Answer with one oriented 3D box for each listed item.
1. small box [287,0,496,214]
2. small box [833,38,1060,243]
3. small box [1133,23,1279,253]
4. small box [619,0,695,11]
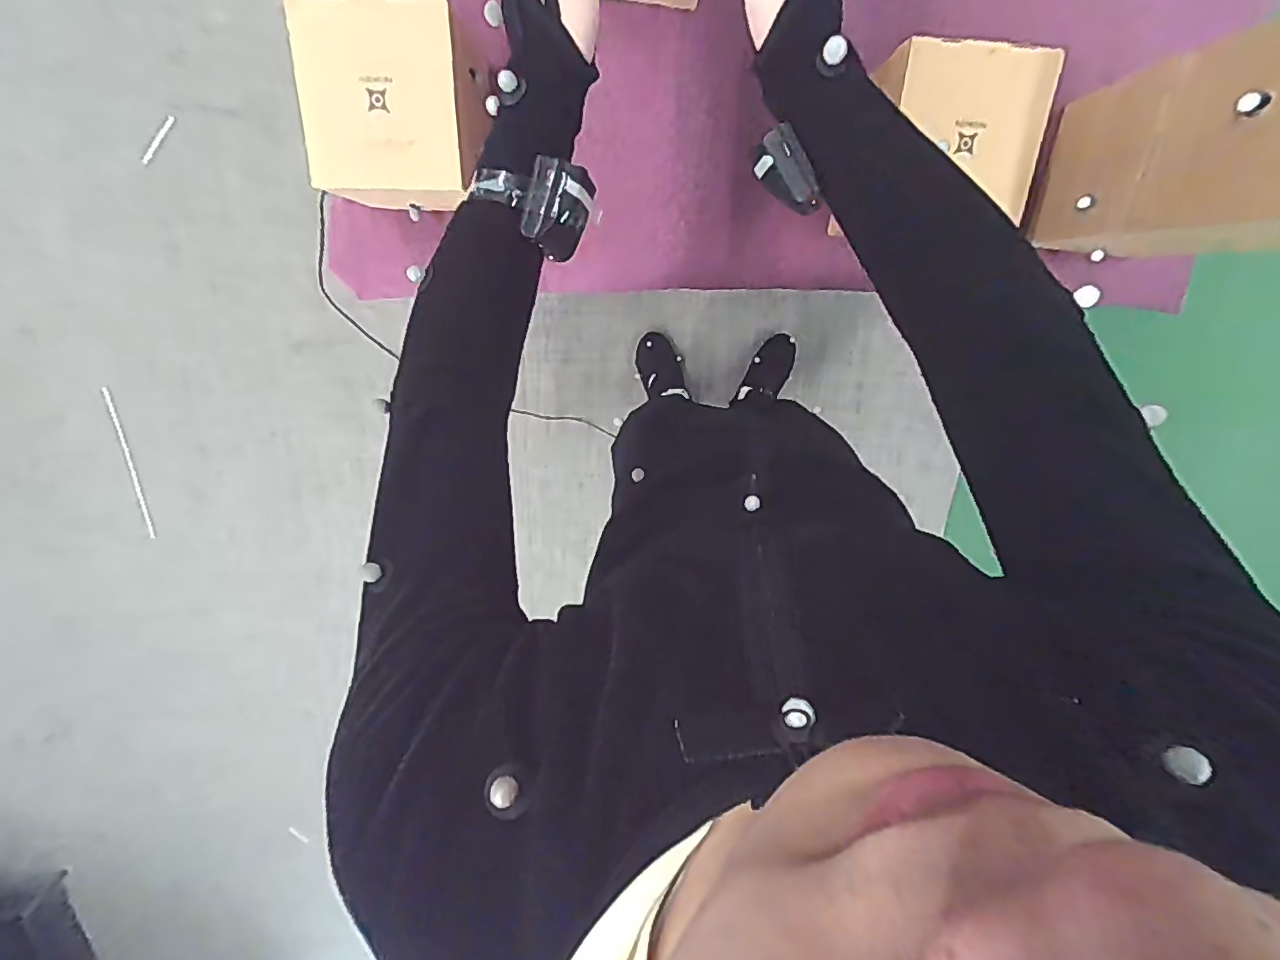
[{"bbox_3d":[-0.275,-0.427,0.641,0.168,0.176,0.179,1,109,-1],"label":"small box"},{"bbox_3d":[0.351,-0.394,0.662,0.168,0.176,0.179,3,108,-1],"label":"small box"},{"bbox_3d":[0.635,-0.324,0.512,0.168,0.176,0.179,6,108,-1],"label":"small box"},{"bbox_3d":[-0.001,-0.647,0.566,0.168,0.176,0.179,6,110,-3],"label":"small box"}]
